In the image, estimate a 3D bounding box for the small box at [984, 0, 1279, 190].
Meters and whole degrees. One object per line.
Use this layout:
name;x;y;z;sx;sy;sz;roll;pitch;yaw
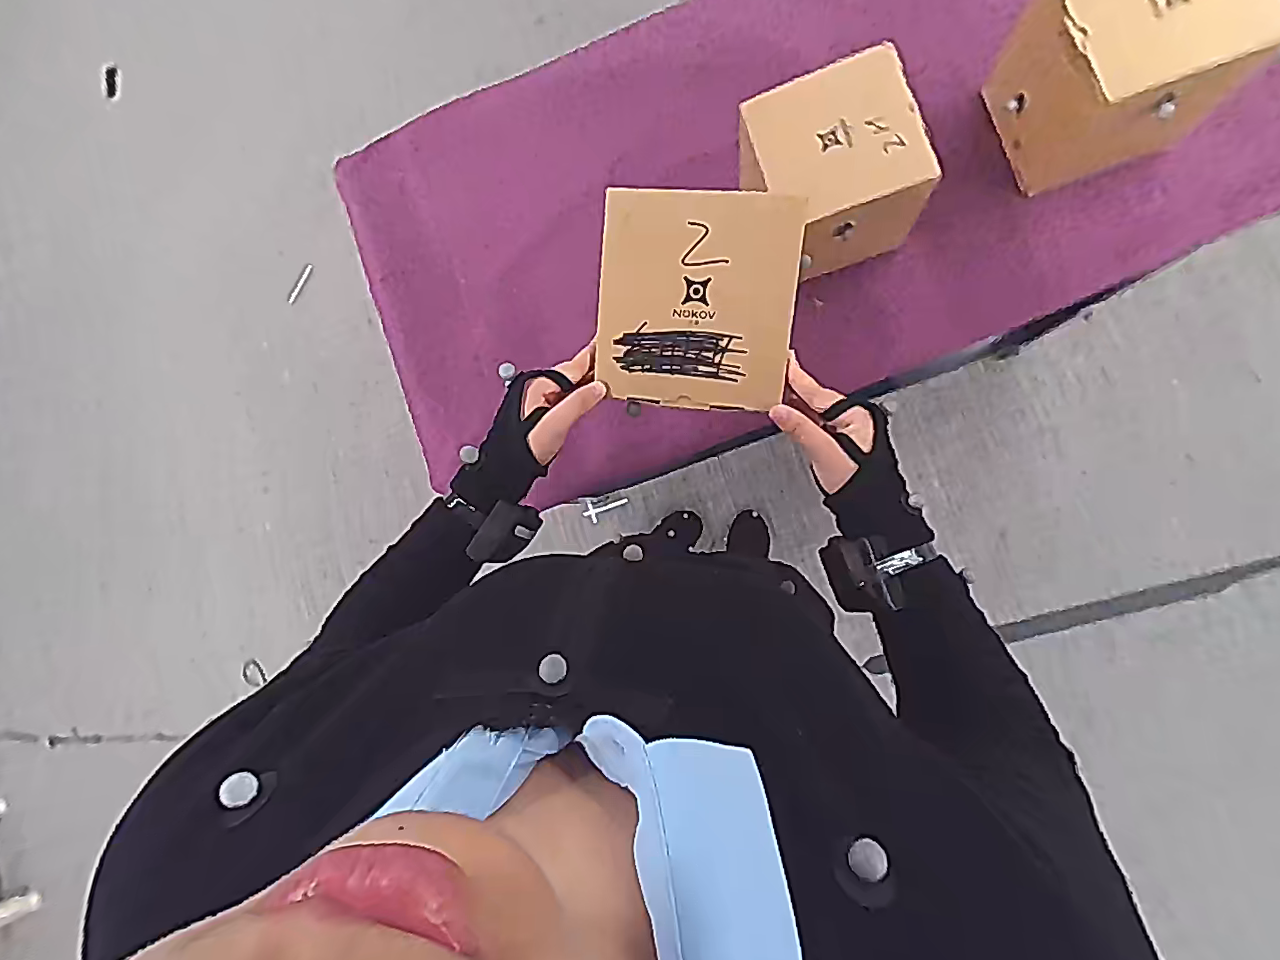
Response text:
small box;0.544;-0.479;0.623;0.179;0.176;0.168;-17;83;10

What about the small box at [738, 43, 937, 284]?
small box;0.230;-0.373;0.675;0.179;0.176;0.168;-17;84;9
